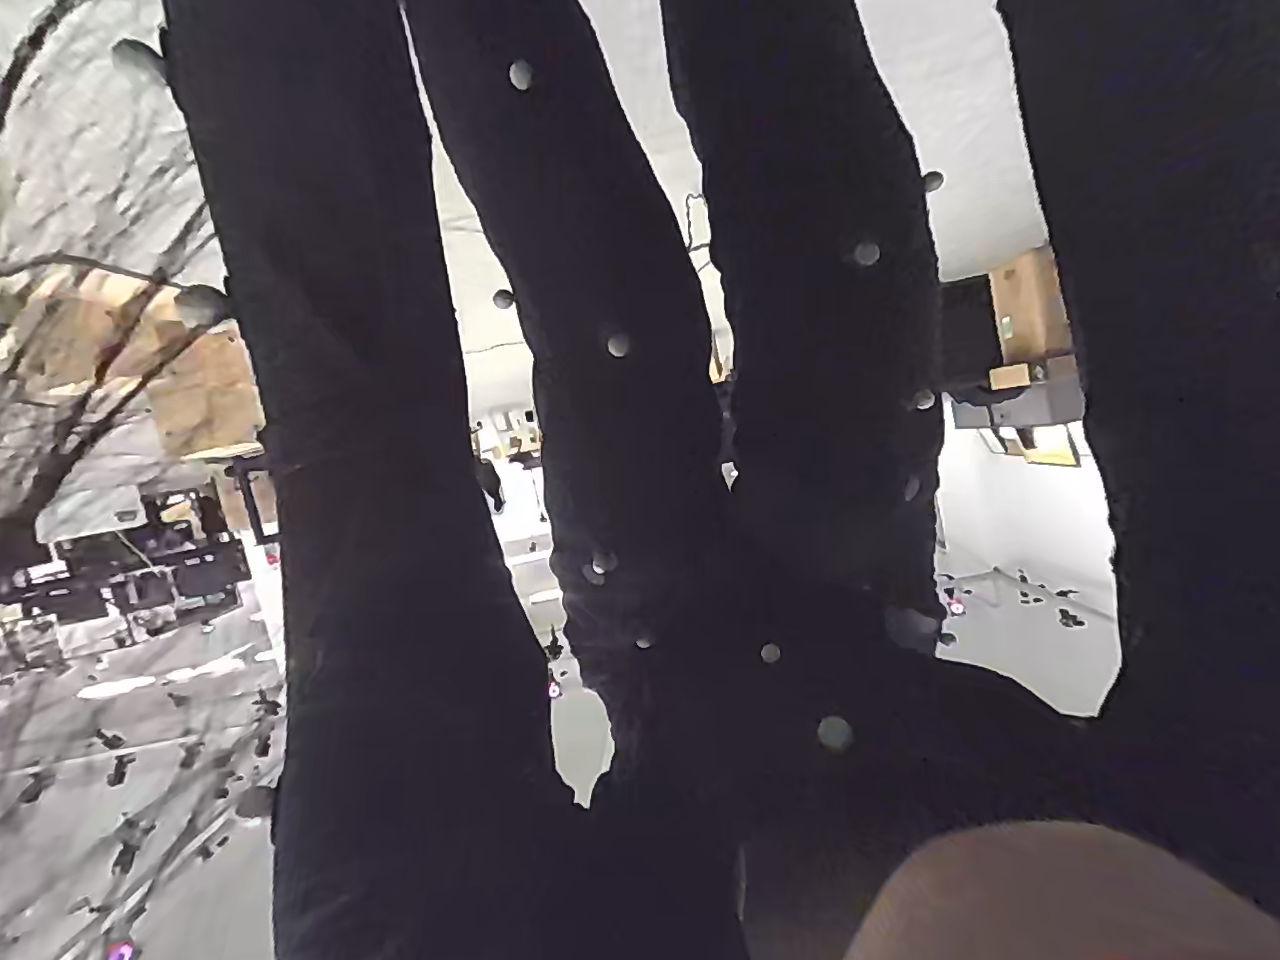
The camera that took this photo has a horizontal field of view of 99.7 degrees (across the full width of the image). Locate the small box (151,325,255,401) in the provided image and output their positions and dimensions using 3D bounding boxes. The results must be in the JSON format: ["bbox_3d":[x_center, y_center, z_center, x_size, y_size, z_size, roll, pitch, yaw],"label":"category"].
[{"bbox_3d":[-1.220,-0.318,1.487,0.179,0.176,0.168,-12,-175,10],"label":"small box"}]

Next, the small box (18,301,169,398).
[{"bbox_3d":[-1.250,-0.293,1.239,0.179,0.176,0.168,-13,-174,6],"label":"small box"}]
